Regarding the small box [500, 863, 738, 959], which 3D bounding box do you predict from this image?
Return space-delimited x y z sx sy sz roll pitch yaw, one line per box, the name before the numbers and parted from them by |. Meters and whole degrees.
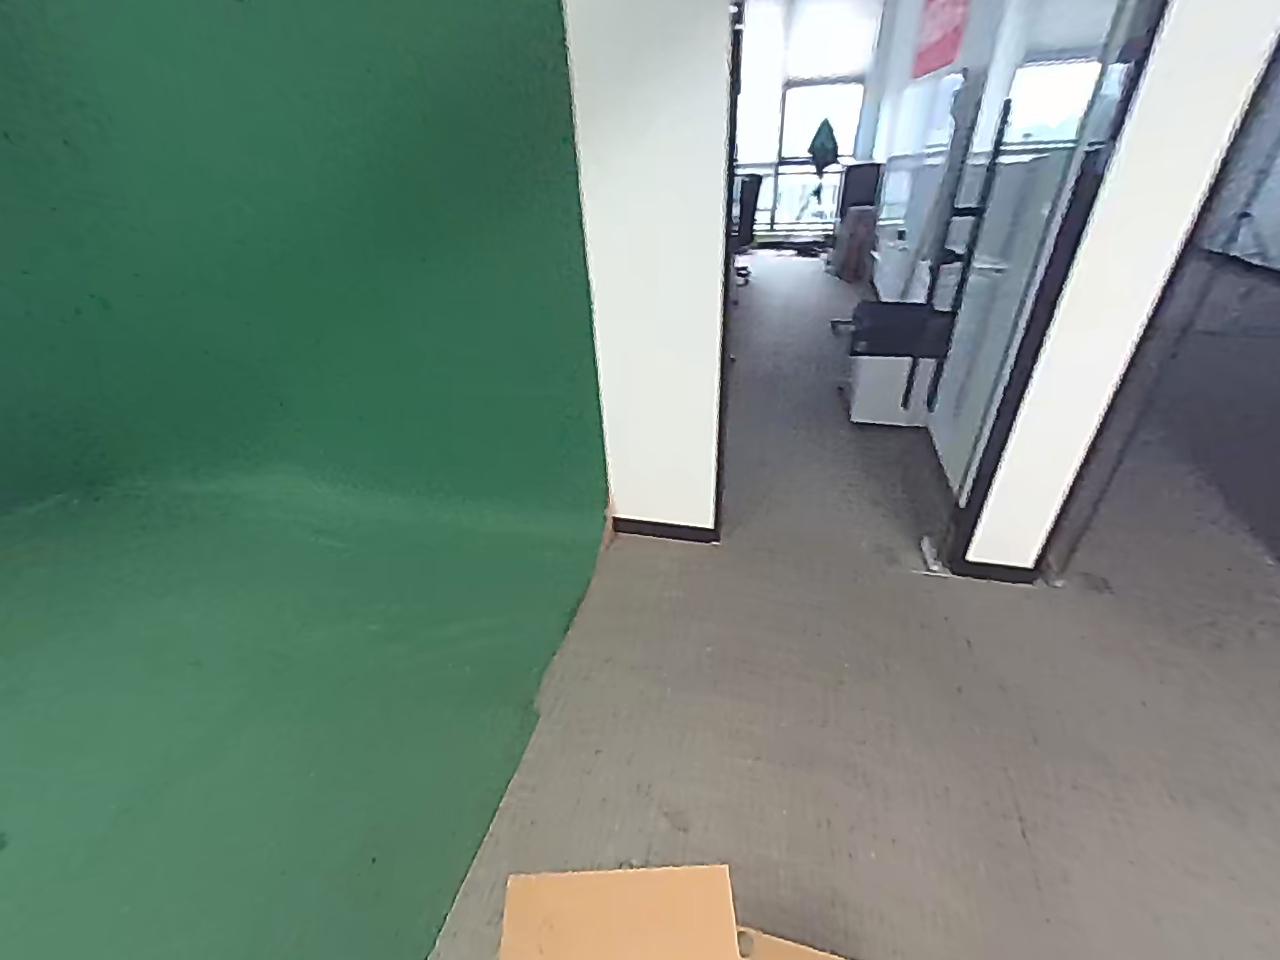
small box | -0.016 0.408 0.403 0.168 0.176 0.179 -2 48 -3
